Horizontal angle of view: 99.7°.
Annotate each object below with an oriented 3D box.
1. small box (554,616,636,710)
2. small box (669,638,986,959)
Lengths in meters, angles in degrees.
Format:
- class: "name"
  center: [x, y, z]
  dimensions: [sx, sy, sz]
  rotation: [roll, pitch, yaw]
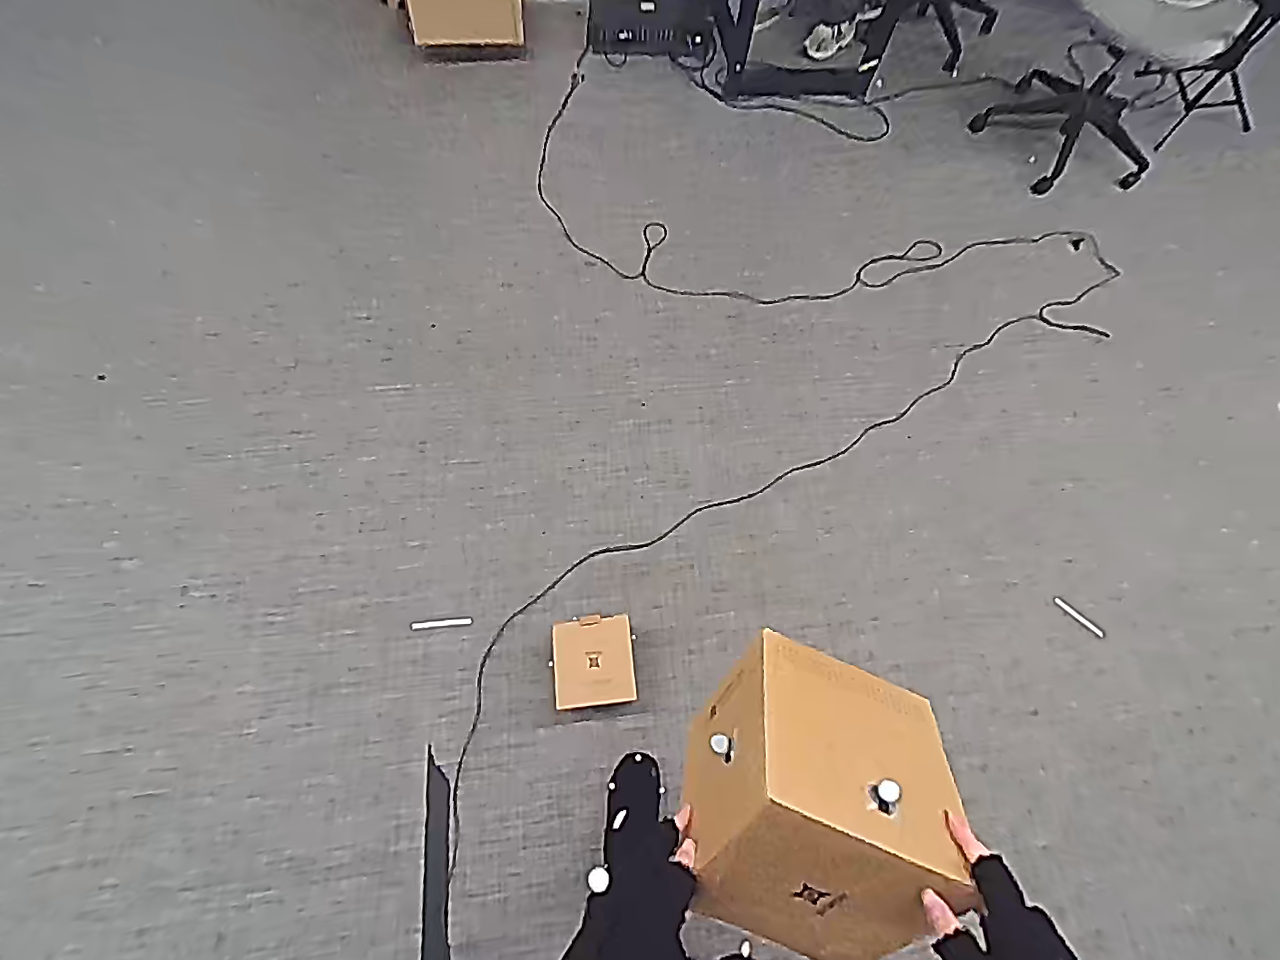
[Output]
- class: "small box"
  center: [-0.101, 0.409, 1.200]
  dimensions: [0.168, 0.176, 0.179]
  rotation: [-5, 69, -5]
- class: "small box"
  center: [0.145, 0.270, 0.479]
  dimensions: [0.179, 0.168, 0.176]
  rotation: [25, 29, -3]
